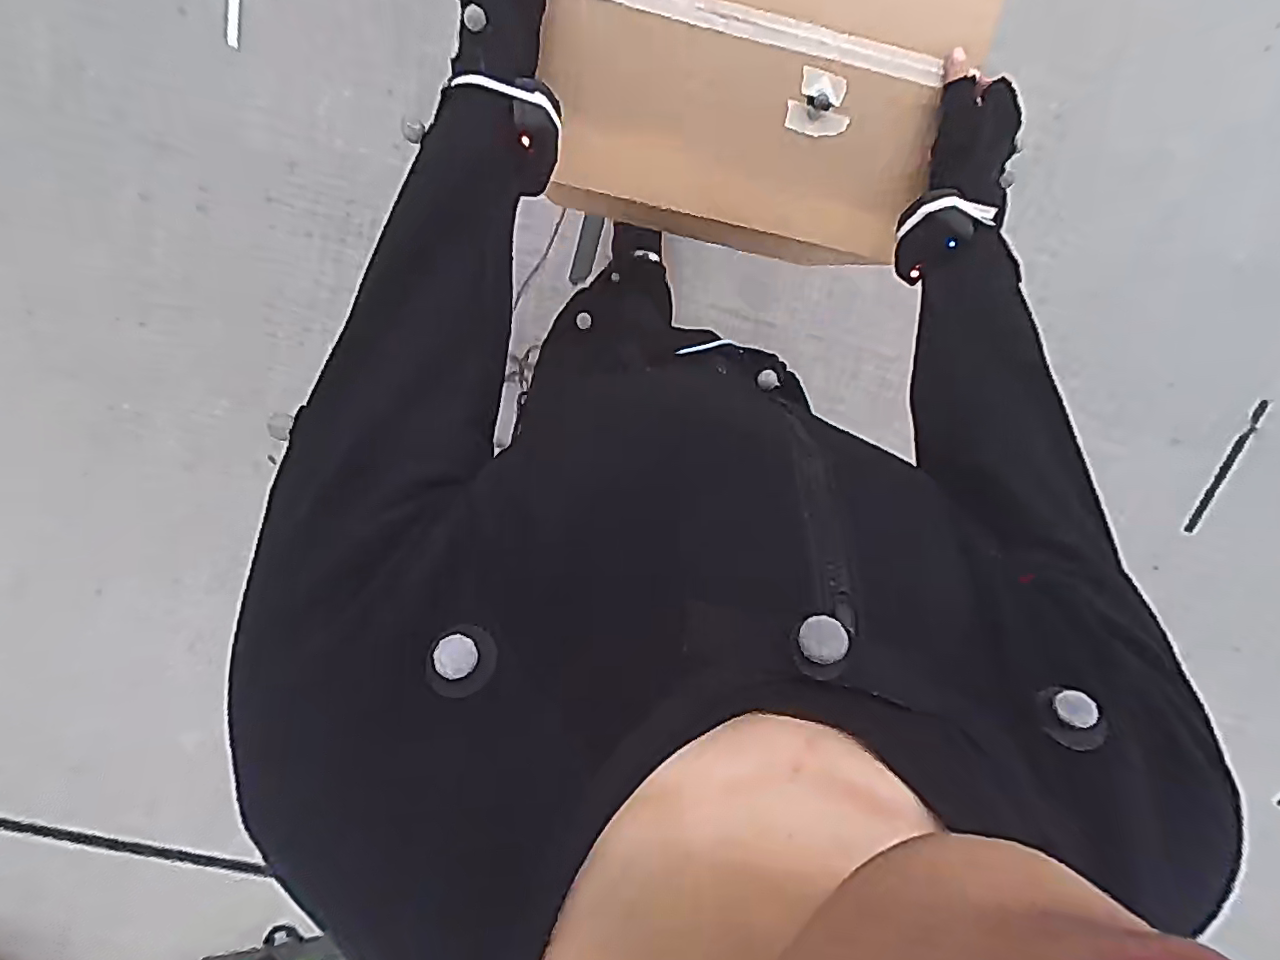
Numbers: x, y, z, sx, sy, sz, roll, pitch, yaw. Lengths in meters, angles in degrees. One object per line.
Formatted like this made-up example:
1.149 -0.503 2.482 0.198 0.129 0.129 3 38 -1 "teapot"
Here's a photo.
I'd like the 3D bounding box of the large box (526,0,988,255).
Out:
0.101 -0.467 0.631 0.408 0.320 0.320 10 112 -7 "large box"
